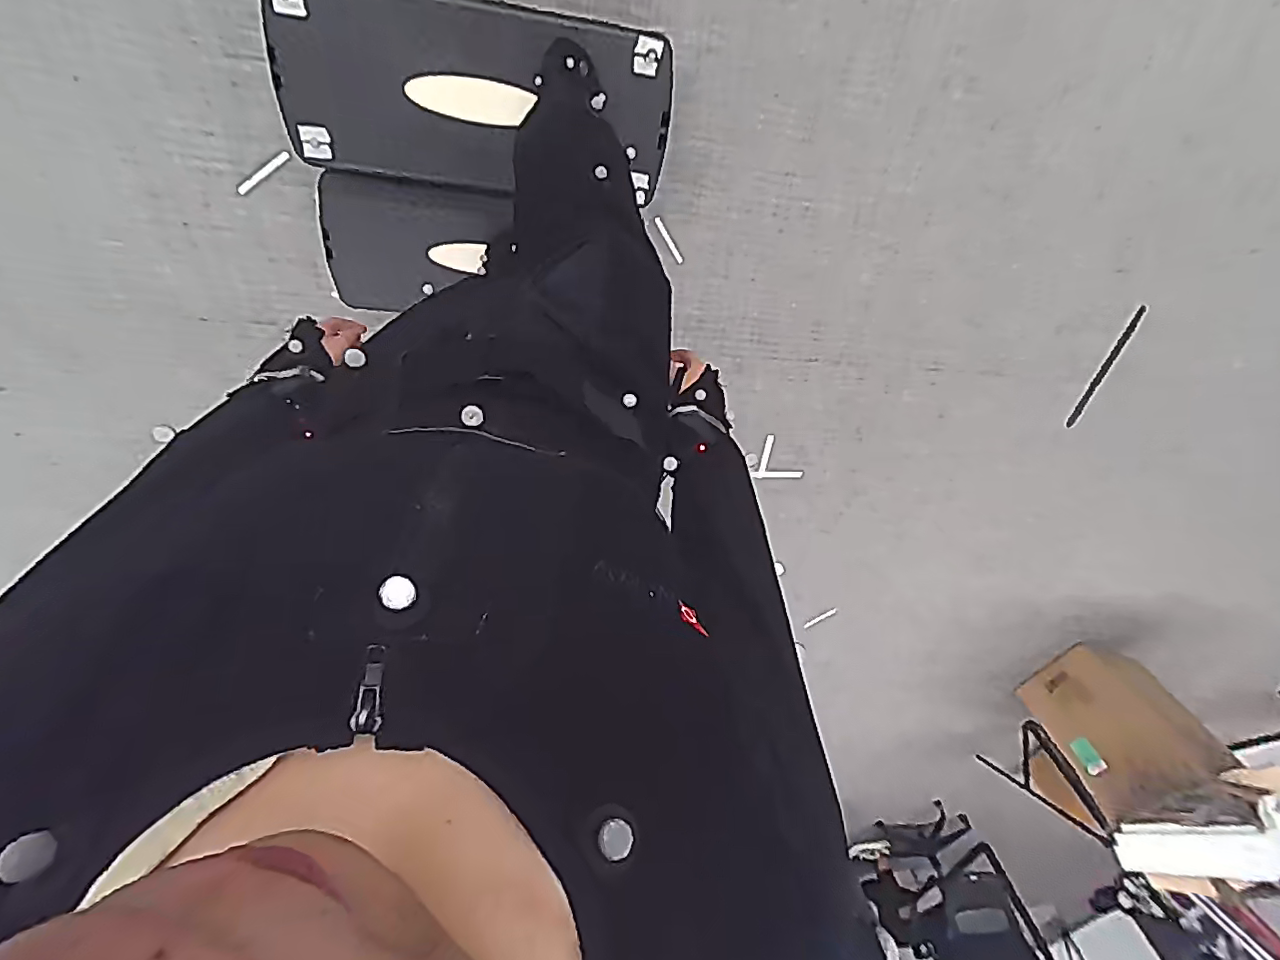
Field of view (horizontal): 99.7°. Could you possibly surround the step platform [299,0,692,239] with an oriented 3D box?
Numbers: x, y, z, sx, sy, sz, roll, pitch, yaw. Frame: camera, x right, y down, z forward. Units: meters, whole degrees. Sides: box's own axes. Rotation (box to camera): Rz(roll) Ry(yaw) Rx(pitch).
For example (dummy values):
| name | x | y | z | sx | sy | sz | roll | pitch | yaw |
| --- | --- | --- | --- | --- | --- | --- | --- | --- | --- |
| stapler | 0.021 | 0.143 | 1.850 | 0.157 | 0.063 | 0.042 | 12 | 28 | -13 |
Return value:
| name | x | y | z | sx | sy | sz | roll | pitch | yaw |
| --- | --- | --- | --- | --- | --- | --- | --- | --- | --- |
| step platform | -0.248 | -0.677 | 1.030 | 0.684 | 0.204 | 0.286 | 6 | 123 | -13 |
